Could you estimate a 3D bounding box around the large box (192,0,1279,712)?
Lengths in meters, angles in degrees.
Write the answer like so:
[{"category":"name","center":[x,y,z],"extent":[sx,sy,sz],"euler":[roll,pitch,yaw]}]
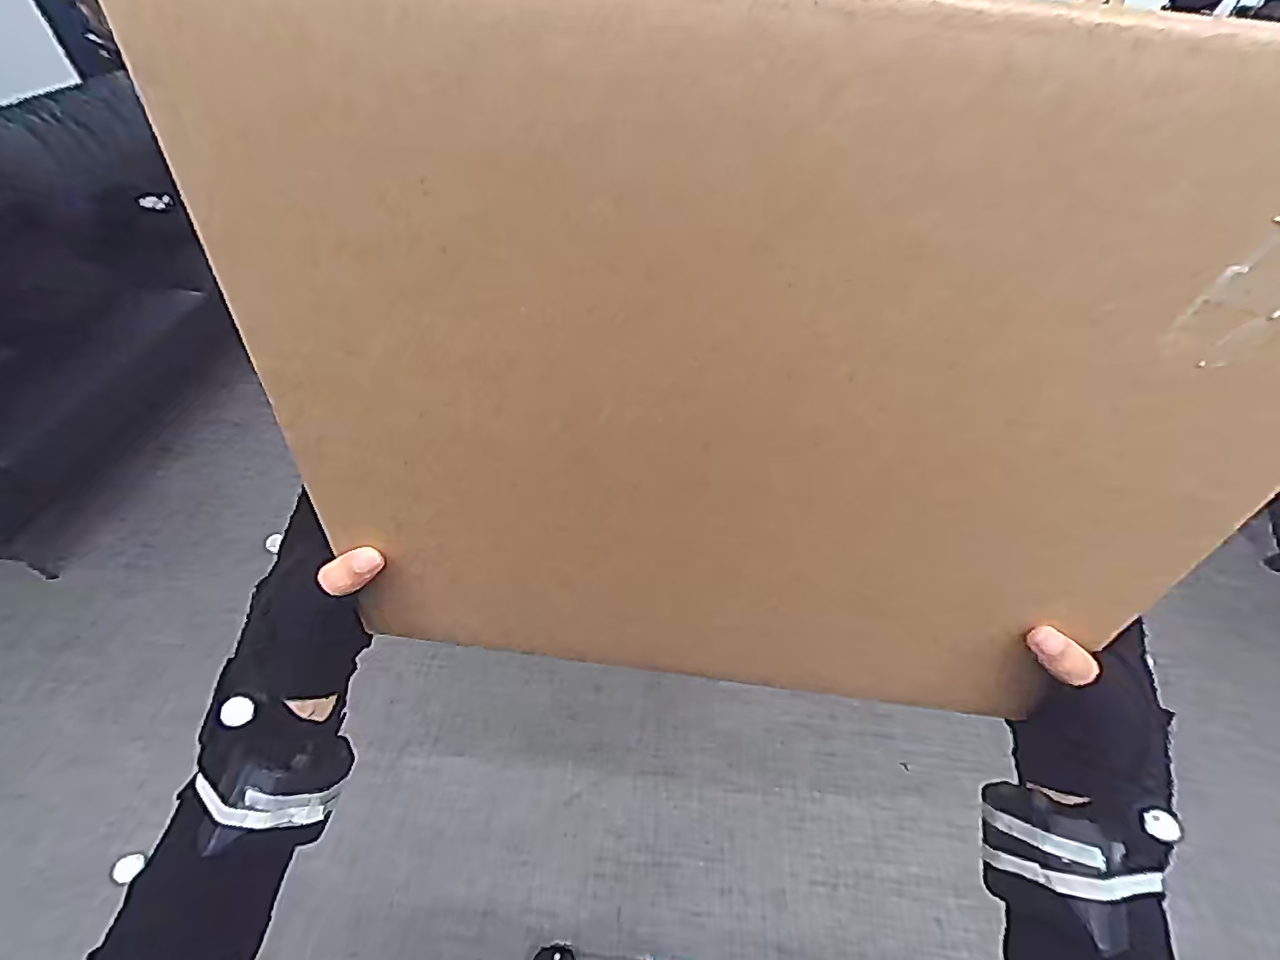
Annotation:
[{"category":"large box","center":[0.065,-0.089,0.351],"extent":[0.408,0.320,0.320],"euler":[8,40,0]}]
